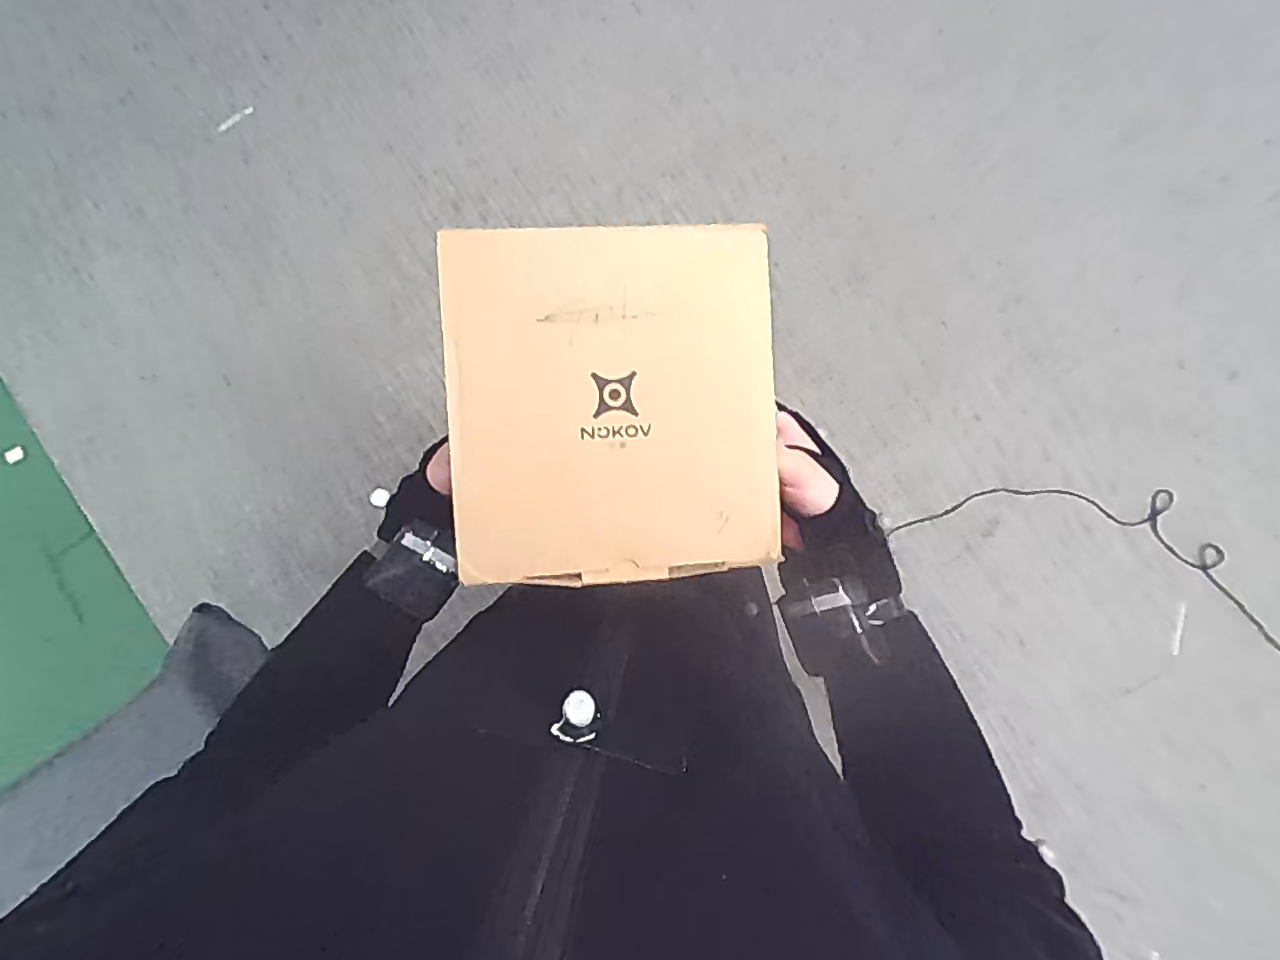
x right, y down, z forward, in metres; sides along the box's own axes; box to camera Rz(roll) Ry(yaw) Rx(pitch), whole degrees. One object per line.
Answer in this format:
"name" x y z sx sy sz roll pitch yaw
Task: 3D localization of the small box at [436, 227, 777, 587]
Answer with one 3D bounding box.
"small box" -0.021 -0.039 0.349 0.168 0.176 0.179 -4 91 -6
